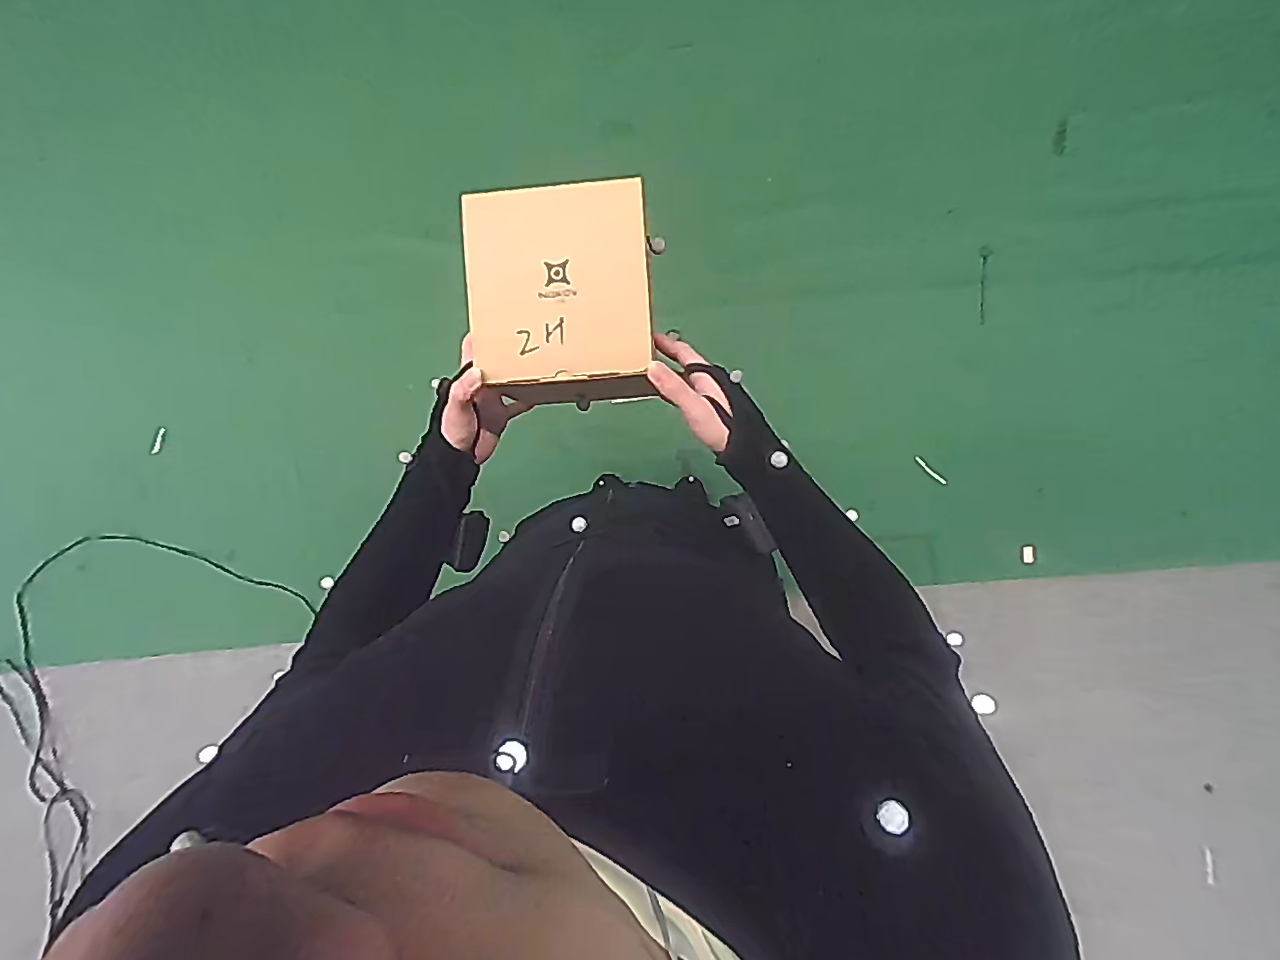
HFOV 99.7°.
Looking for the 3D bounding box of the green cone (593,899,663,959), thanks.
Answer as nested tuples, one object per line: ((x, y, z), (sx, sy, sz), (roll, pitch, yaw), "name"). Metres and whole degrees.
((-0.048, 1.357, 1.447), (0.202, 0.368, 0.200), (-5, 90, 4), "green cone")
